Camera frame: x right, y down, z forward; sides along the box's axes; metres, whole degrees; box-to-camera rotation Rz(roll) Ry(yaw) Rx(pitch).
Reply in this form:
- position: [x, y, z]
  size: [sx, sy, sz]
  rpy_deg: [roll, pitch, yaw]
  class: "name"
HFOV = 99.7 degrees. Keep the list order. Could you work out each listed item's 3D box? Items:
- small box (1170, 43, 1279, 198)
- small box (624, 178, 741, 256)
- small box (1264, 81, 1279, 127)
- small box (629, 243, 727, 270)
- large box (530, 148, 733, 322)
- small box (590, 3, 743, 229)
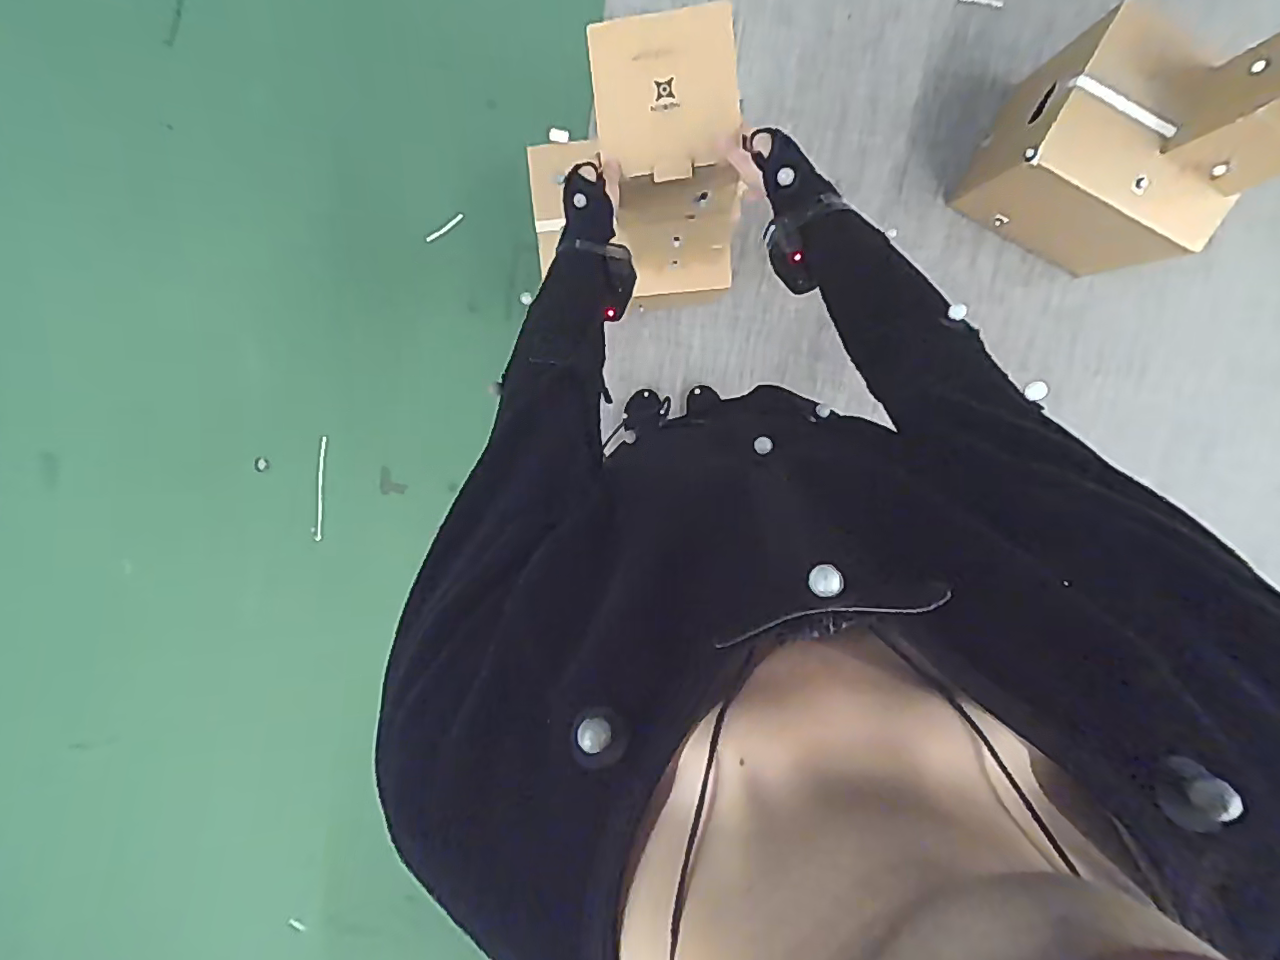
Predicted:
- position: [1.116, -0.642, 0.954]
  size: [0.168, 0.176, 0.179]
  rpy_deg: [28, 100, -3]
  class: "small box"
- position: [0.062, -0.465, 0.864]
  size: [0.179, 0.176, 0.168]
  rpy_deg: [-4, 101, 5]
  class: "small box"
- position: [1.119, -0.610, 0.794]
  size: [0.179, 0.176, 0.168]
  rpy_deg: [29, 99, -3]
  class: "small box"
- position: [0.069, -0.500, 1.025]
  size: [0.179, 0.176, 0.168]
  rpy_deg: [0, 101, 2]
  class: "small box"
- position: [-0.006, -0.559, 1.267]
  size: [0.408, 0.320, 0.320]
  rpy_deg: [-4, 100, 5]
  class: "large box"
- position: [0.039, -0.441, 0.691]
  size: [0.168, 0.176, 0.179]
  rpy_deg: [-5, 94, 6]
  class: "small box"
